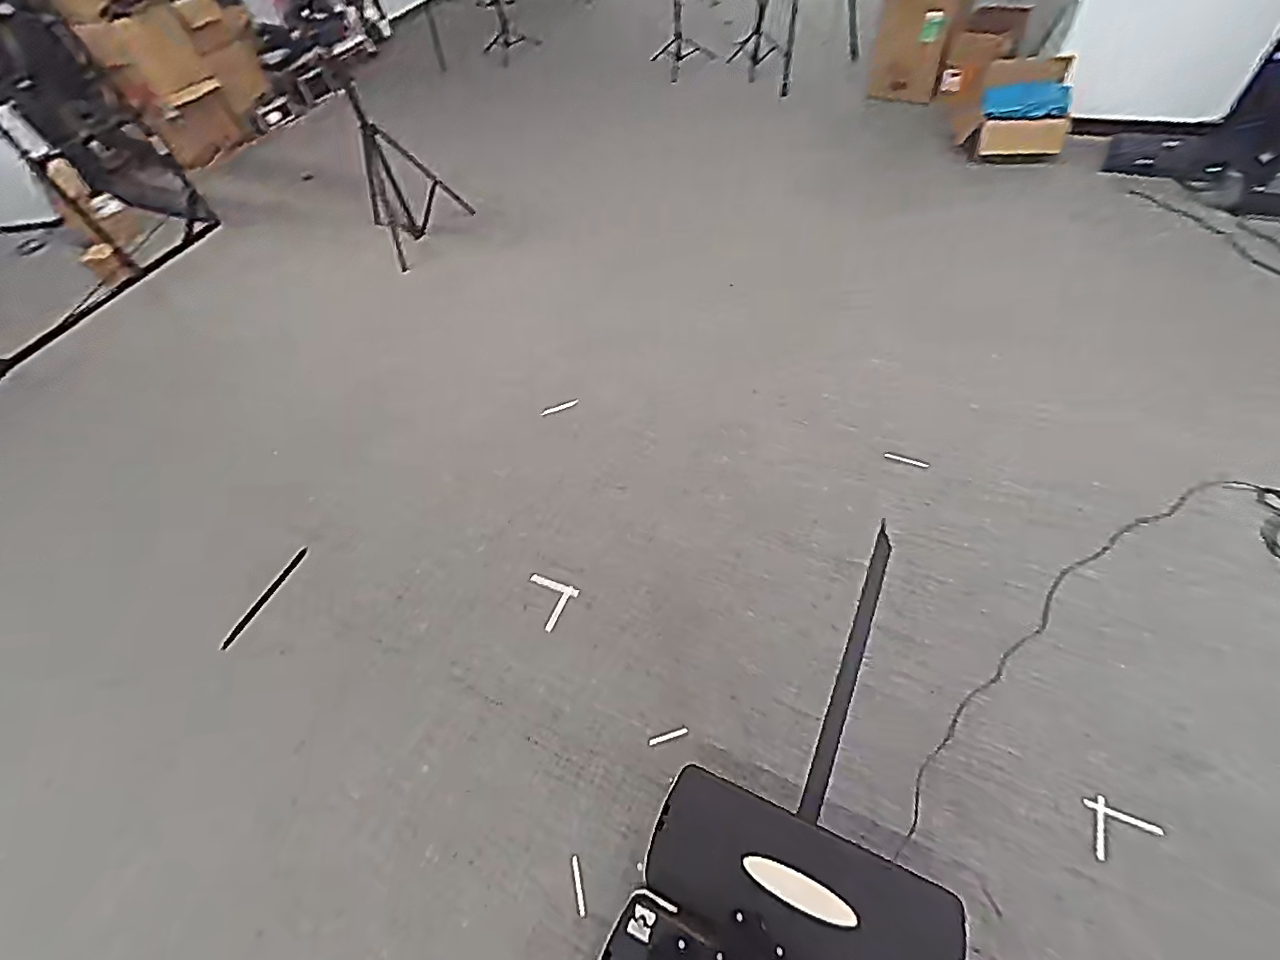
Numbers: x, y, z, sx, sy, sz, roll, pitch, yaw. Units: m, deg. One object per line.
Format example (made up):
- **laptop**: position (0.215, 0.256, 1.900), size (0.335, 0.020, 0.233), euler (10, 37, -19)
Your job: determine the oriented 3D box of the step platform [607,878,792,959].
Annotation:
- **step platform**: position (0.250, 1.093, 1.052), size (0.684, 0.204, 0.286), euler (16, 58, 20)
